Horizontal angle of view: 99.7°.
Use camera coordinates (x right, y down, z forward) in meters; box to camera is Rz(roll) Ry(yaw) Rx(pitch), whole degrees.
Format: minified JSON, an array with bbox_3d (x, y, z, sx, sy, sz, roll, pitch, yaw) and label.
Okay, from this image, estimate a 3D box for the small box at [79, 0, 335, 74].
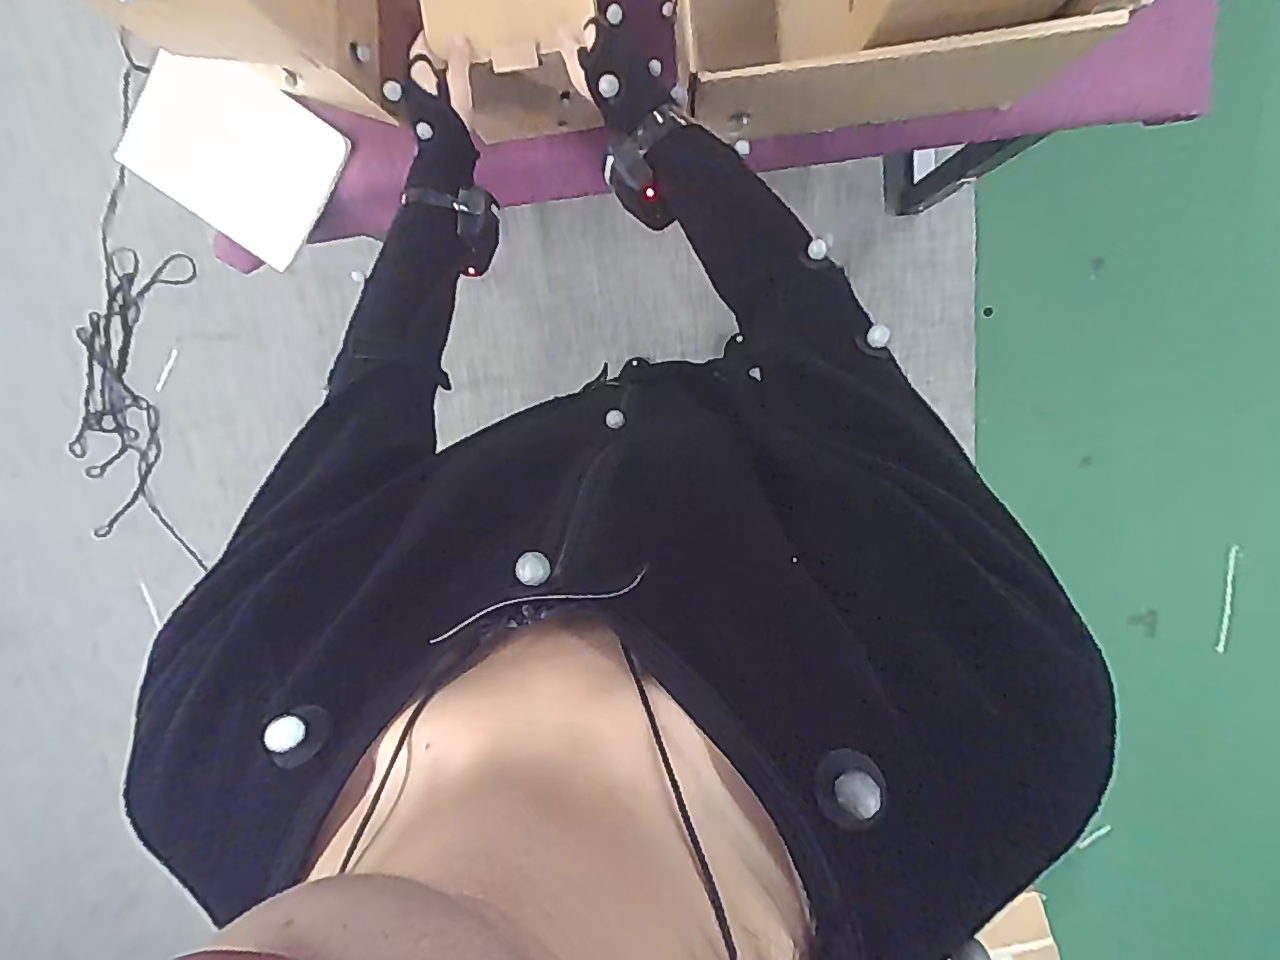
[{"bbox_3d":[-0.378,-0.473,0.448,0.179,0.176,0.168,8,103,3],"label":"small box"}]
